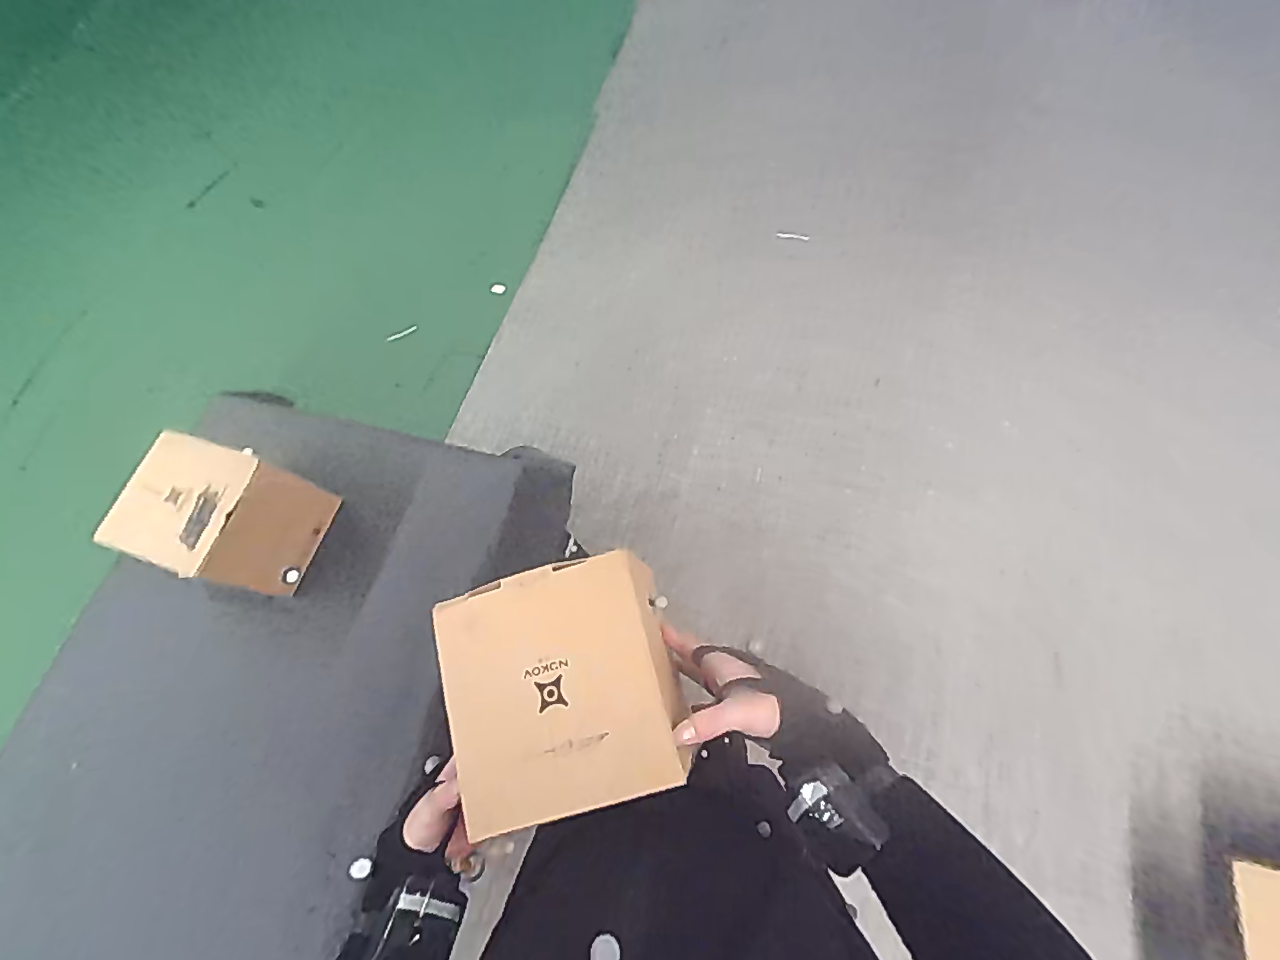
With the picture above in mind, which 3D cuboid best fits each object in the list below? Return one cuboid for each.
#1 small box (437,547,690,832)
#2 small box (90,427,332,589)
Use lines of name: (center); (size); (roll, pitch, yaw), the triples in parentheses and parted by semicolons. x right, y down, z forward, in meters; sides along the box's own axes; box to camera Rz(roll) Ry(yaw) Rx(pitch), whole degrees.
small box: (-0.056, 0.174, 0.485); (0.168, 0.176, 0.179); (-16, 74, 4)
small box: (-0.589, 0.049, 0.771); (0.179, 0.176, 0.168); (15, 72, 13)
